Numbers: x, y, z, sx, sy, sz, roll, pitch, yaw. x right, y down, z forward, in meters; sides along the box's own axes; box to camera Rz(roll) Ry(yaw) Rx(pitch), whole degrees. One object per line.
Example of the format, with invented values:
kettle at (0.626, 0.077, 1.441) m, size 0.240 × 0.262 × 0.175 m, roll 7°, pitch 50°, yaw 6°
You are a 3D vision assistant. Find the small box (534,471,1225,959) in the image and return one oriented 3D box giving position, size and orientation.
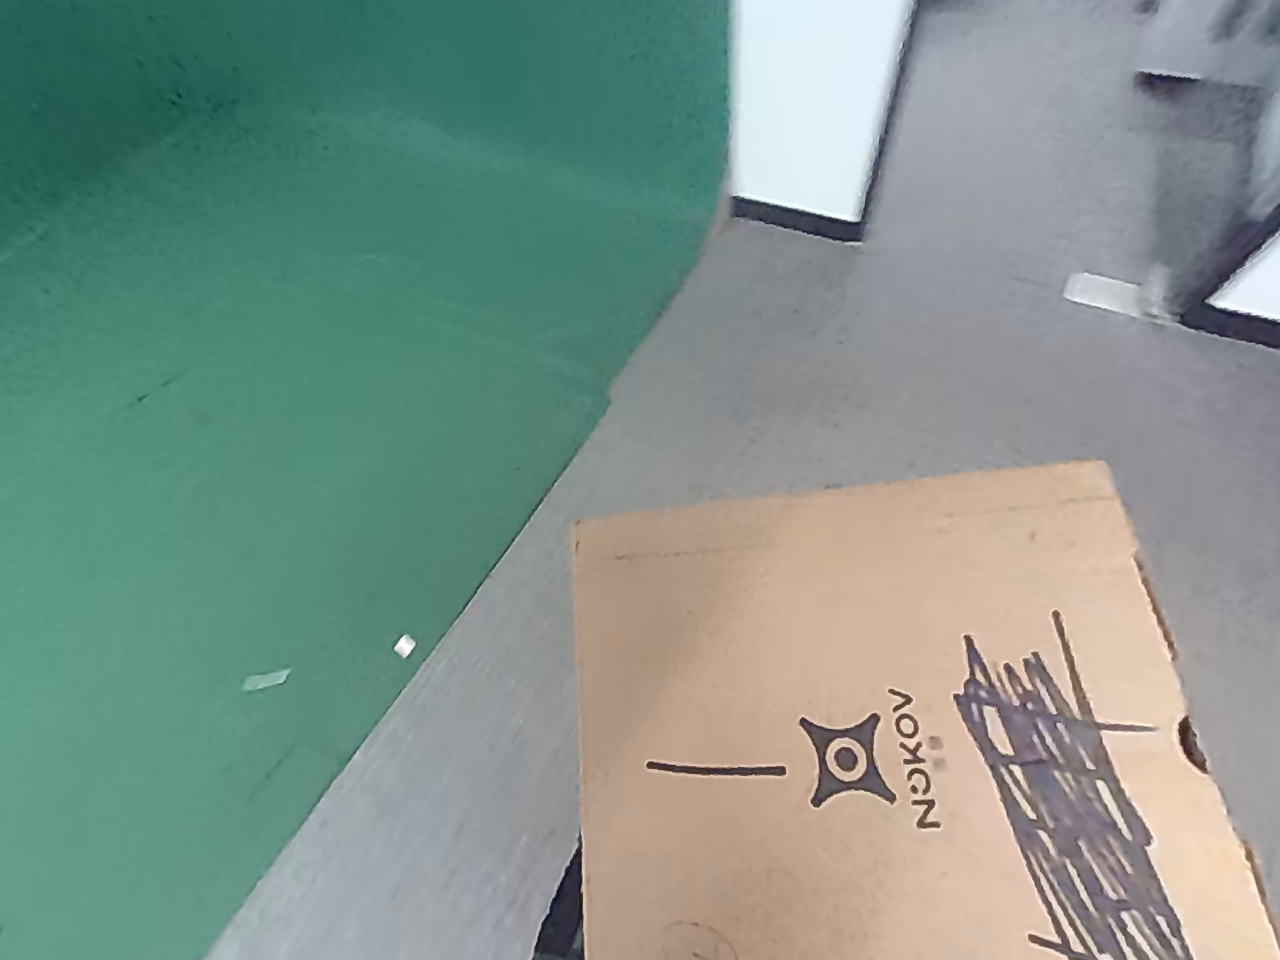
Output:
small box at (0.065, 0.103, 0.230) m, size 0.179 × 0.176 × 0.168 m, roll -4°, pitch 70°, yaw 6°
